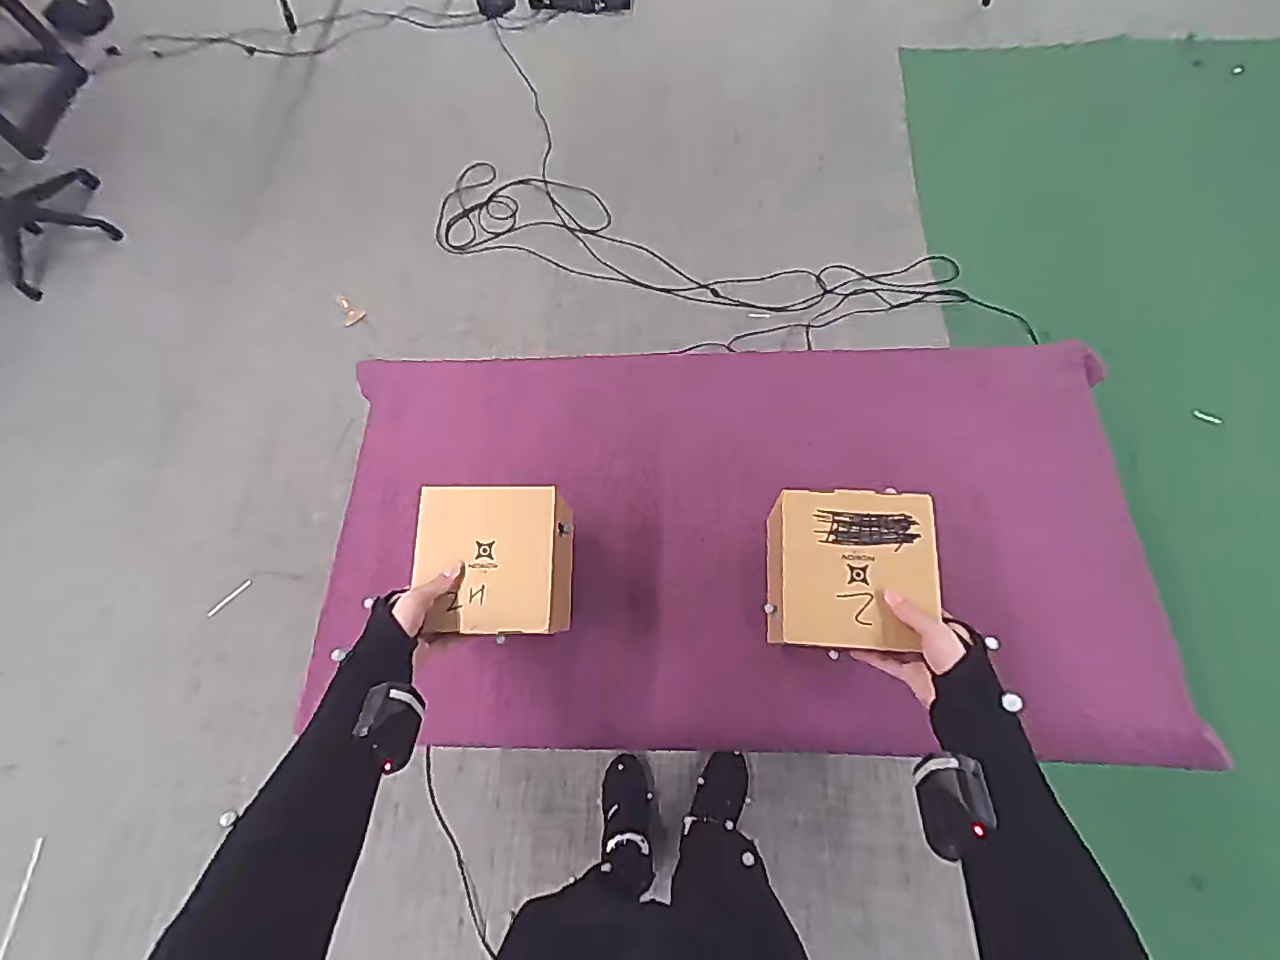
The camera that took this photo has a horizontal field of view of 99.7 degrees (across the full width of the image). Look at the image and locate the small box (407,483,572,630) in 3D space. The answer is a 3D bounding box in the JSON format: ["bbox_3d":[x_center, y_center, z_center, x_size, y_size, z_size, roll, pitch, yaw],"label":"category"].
[{"bbox_3d":[-0.186,0.108,0.723,0.168,0.176,0.179,0,76,2],"label":"small box"}]
